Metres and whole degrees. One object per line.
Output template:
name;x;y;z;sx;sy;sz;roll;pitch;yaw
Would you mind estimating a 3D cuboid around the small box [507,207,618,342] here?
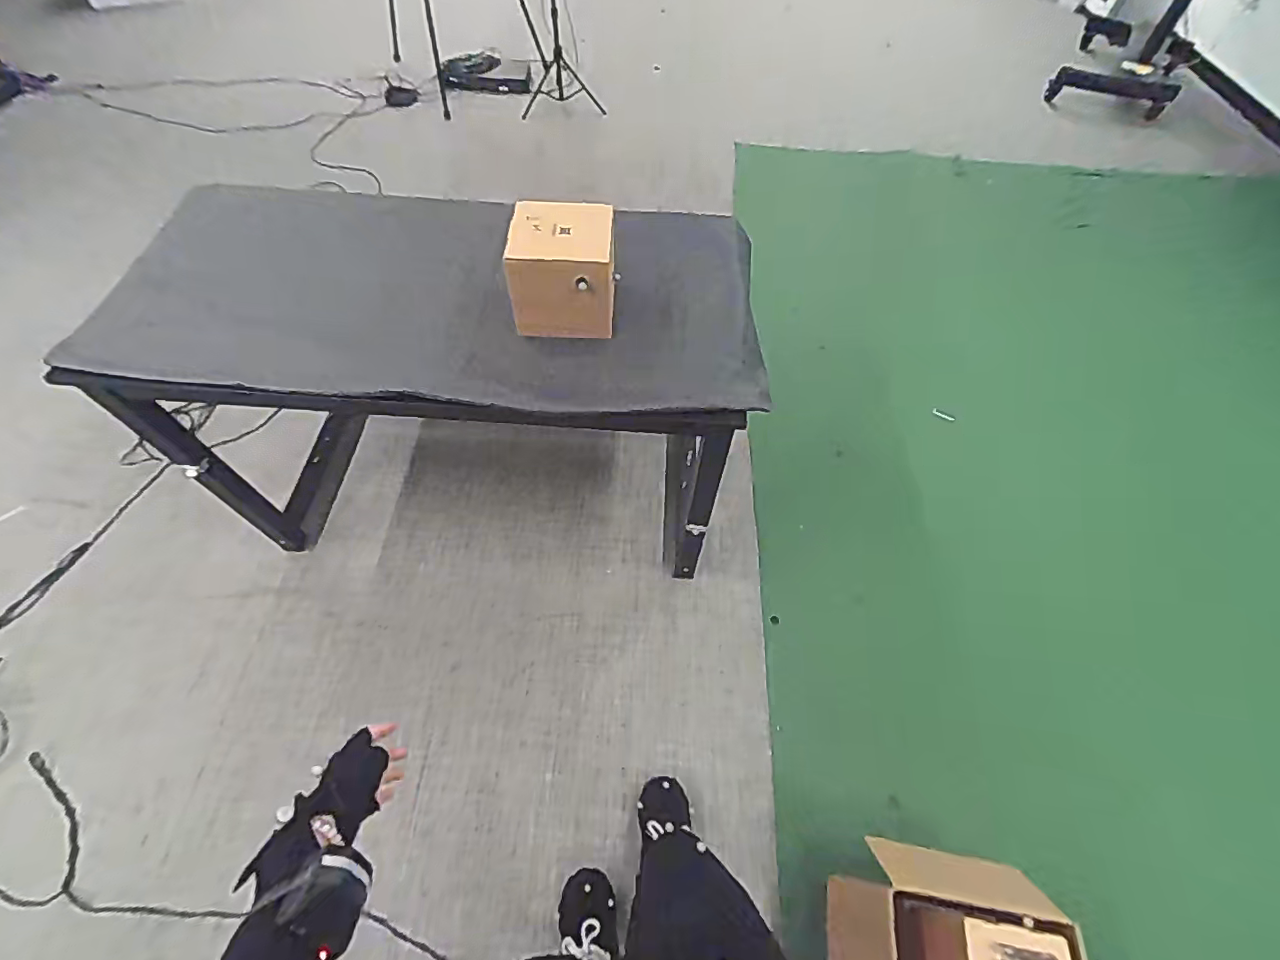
small box;-0.131;-0.370;0.990;0.179;0.176;0.168;2;57;-1
